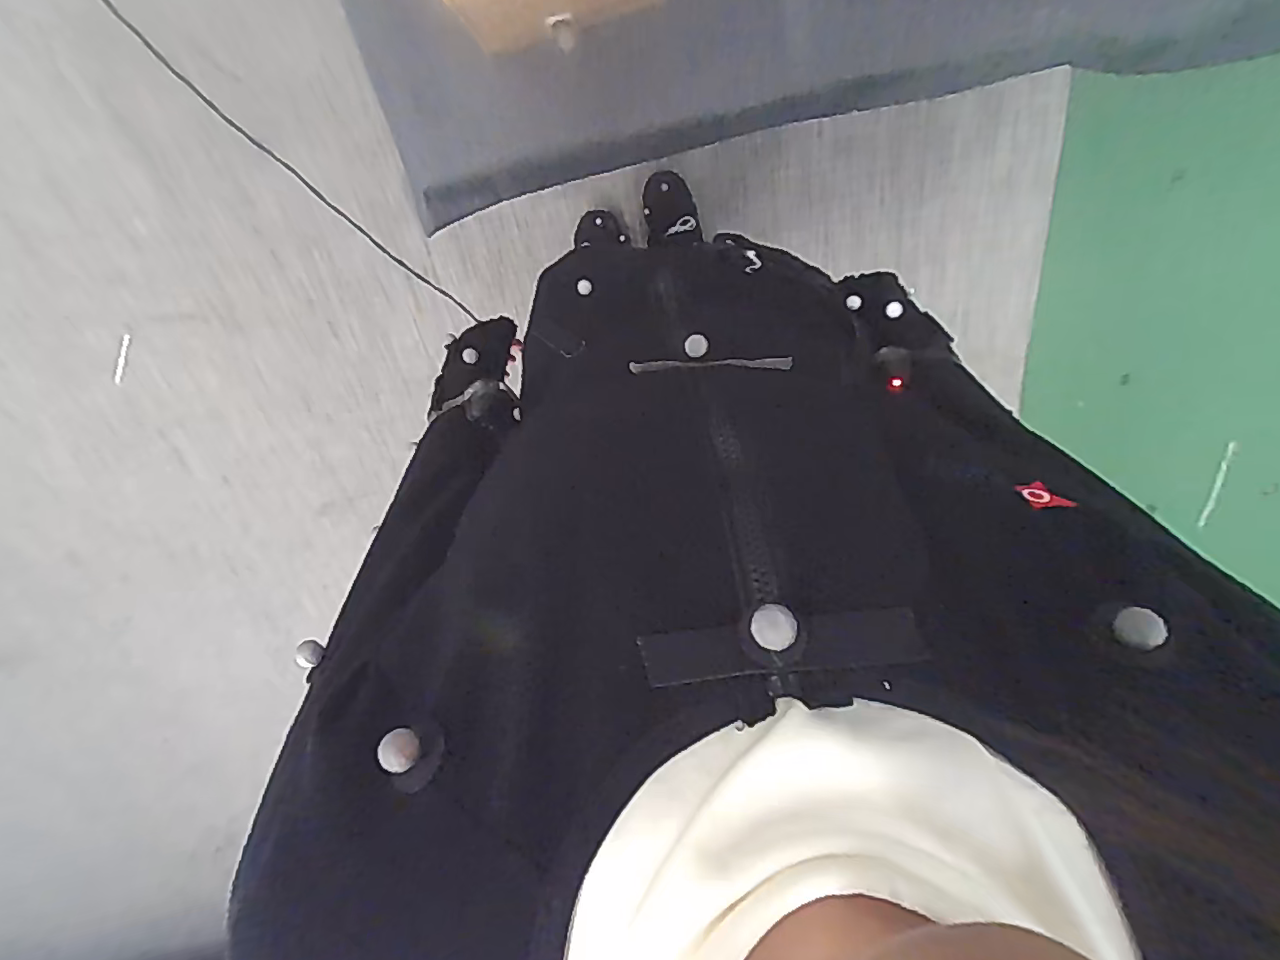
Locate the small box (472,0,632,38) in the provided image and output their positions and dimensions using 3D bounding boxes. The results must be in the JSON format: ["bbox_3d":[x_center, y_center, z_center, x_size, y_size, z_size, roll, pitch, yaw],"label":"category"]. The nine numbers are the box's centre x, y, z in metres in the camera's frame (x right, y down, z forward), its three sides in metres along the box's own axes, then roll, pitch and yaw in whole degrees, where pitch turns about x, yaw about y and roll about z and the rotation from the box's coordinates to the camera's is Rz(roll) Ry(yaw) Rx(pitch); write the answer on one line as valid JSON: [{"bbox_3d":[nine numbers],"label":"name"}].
[{"bbox_3d":[-0.071,-0.448,0.369,0.168,0.176,0.179,-14,119,5],"label":"small box"}]
